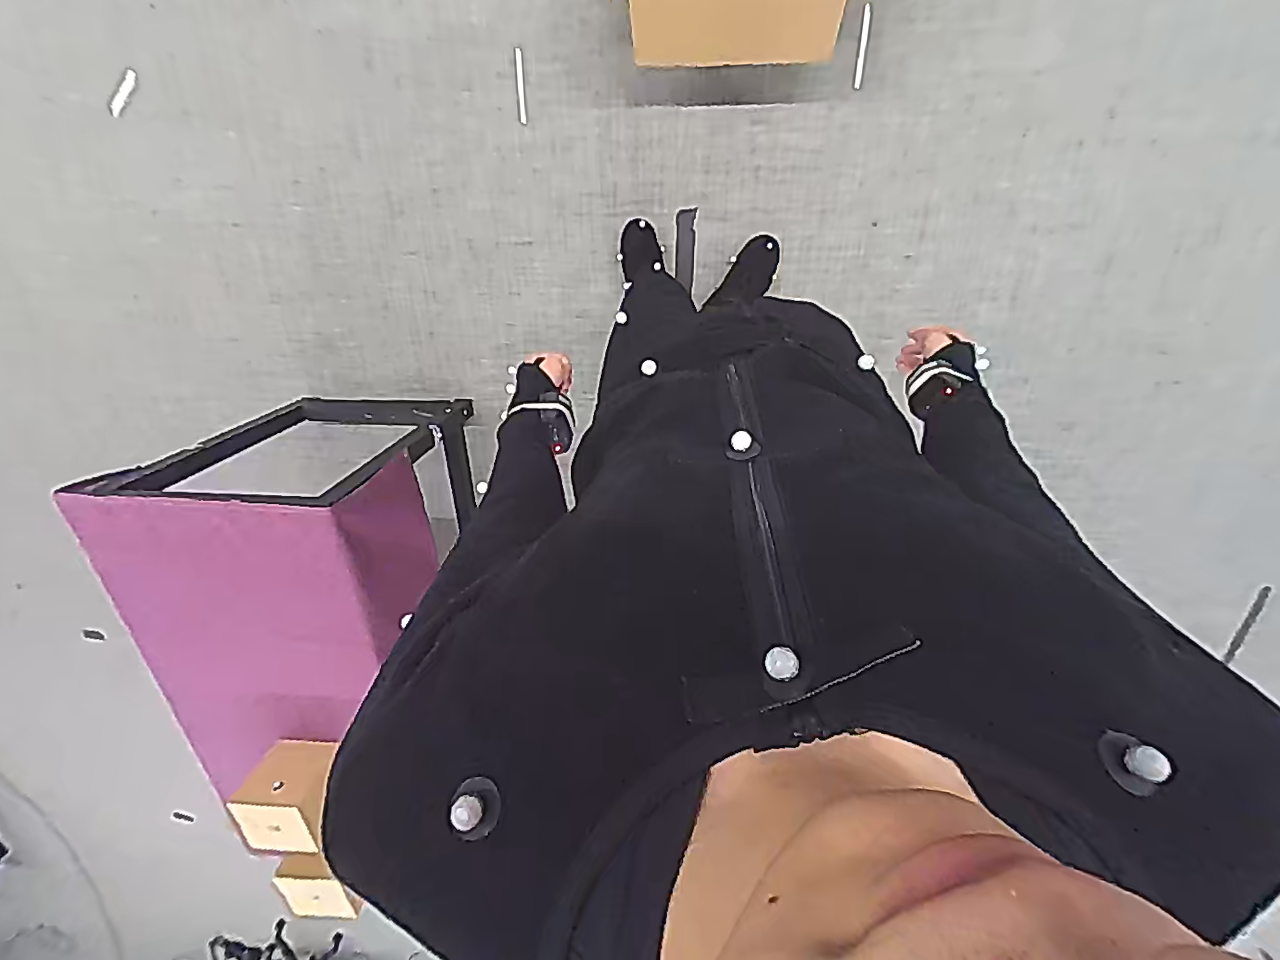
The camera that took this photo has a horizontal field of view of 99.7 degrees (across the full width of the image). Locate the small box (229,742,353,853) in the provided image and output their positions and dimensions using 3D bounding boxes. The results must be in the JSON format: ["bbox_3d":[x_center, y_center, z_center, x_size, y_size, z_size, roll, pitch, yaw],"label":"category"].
[{"bbox_3d":[-0.827,0.763,1.308,0.179,0.176,0.168,0,115,7],"label":"small box"}]

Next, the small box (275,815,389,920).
[{"bbox_3d":[-0.800,1.011,1.423,0.179,0.176,0.168,-2,115,8],"label":"small box"}]
